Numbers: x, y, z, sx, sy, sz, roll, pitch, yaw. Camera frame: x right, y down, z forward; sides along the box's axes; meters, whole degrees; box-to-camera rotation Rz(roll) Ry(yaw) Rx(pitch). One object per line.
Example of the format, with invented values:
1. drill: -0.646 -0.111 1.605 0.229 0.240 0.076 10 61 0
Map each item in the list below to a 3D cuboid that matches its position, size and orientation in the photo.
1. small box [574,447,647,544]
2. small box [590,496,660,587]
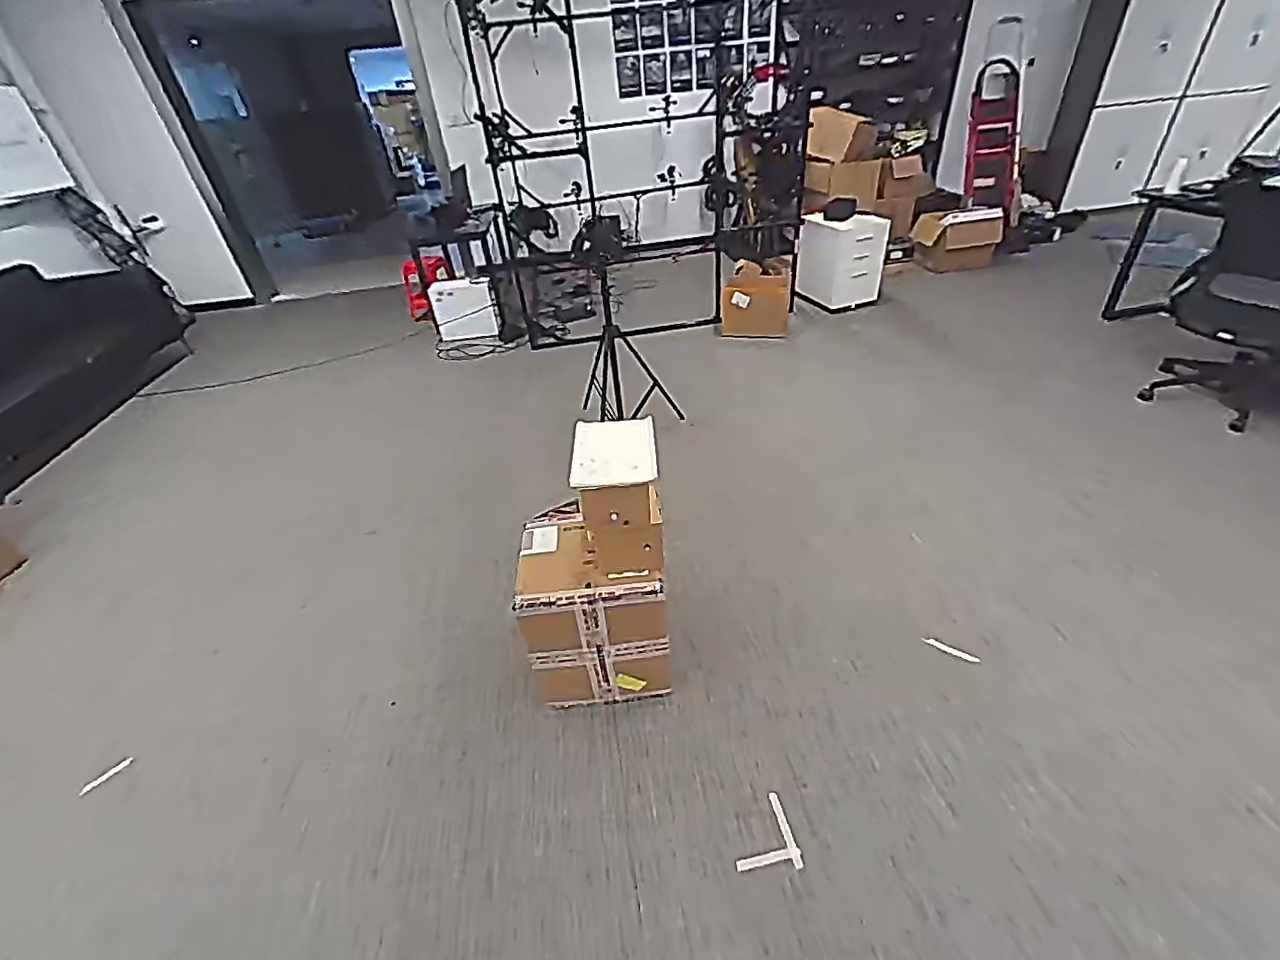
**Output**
1. small box: -0.068 0.037 1.336 0.168 0.176 0.179 -3 38 0
2. small box: -0.041 0.165 1.438 0.179 0.176 0.168 -6 37 -3
